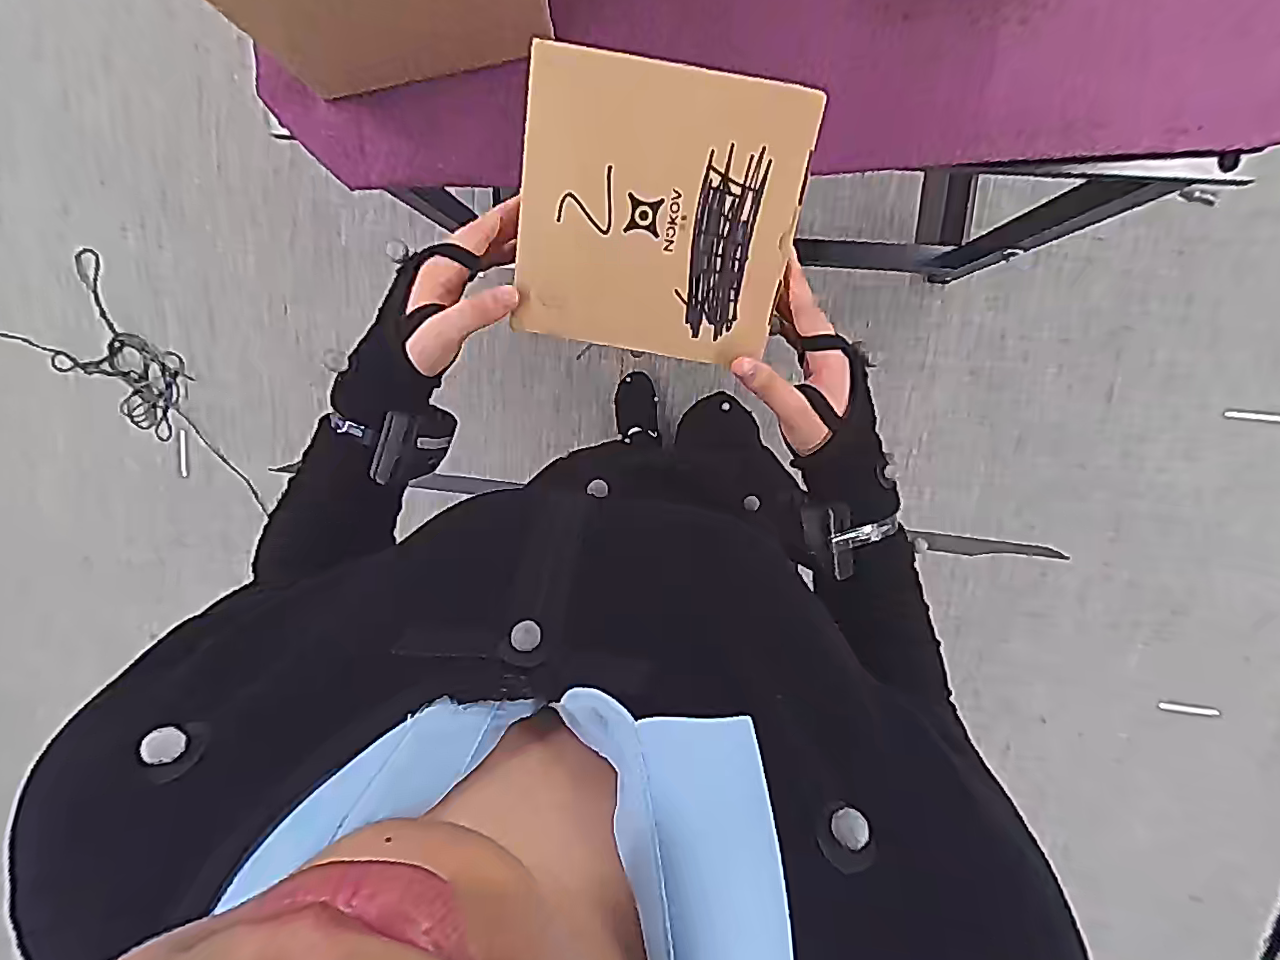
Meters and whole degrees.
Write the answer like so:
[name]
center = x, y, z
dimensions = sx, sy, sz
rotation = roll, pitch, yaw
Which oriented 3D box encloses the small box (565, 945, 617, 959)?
[small box]
center = -0.165, 1.620, 1.703
dimensions = 0.168, 0.176, 0.179
rotation = 2, 101, 4
